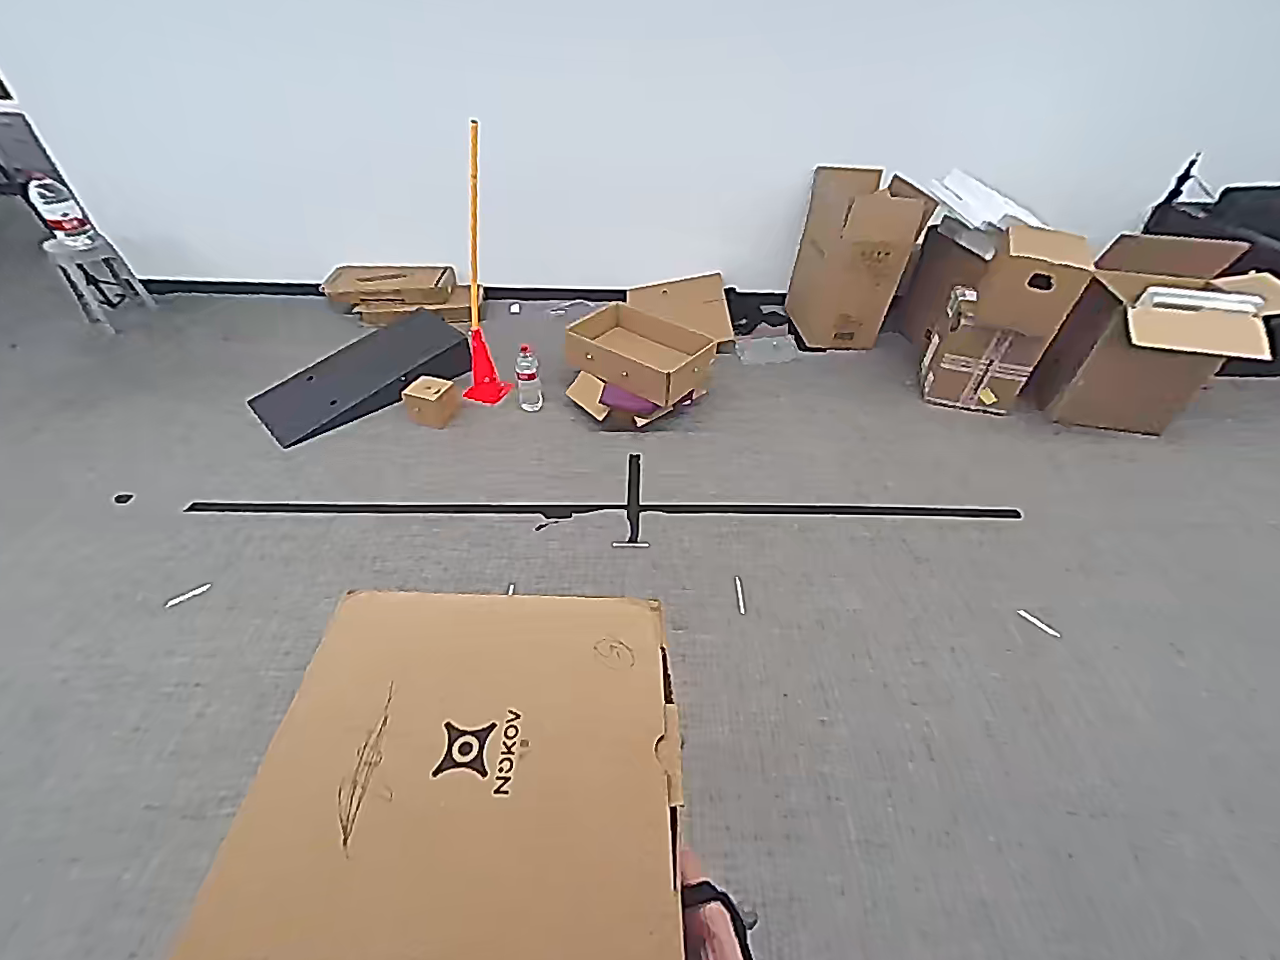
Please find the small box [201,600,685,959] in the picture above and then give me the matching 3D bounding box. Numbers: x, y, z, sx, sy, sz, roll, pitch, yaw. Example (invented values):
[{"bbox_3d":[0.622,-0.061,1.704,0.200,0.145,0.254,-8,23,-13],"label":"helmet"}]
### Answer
[{"bbox_3d":[-0.077,0.185,0.303,0.179,0.176,0.168,0,41,-3],"label":"small box"}]
